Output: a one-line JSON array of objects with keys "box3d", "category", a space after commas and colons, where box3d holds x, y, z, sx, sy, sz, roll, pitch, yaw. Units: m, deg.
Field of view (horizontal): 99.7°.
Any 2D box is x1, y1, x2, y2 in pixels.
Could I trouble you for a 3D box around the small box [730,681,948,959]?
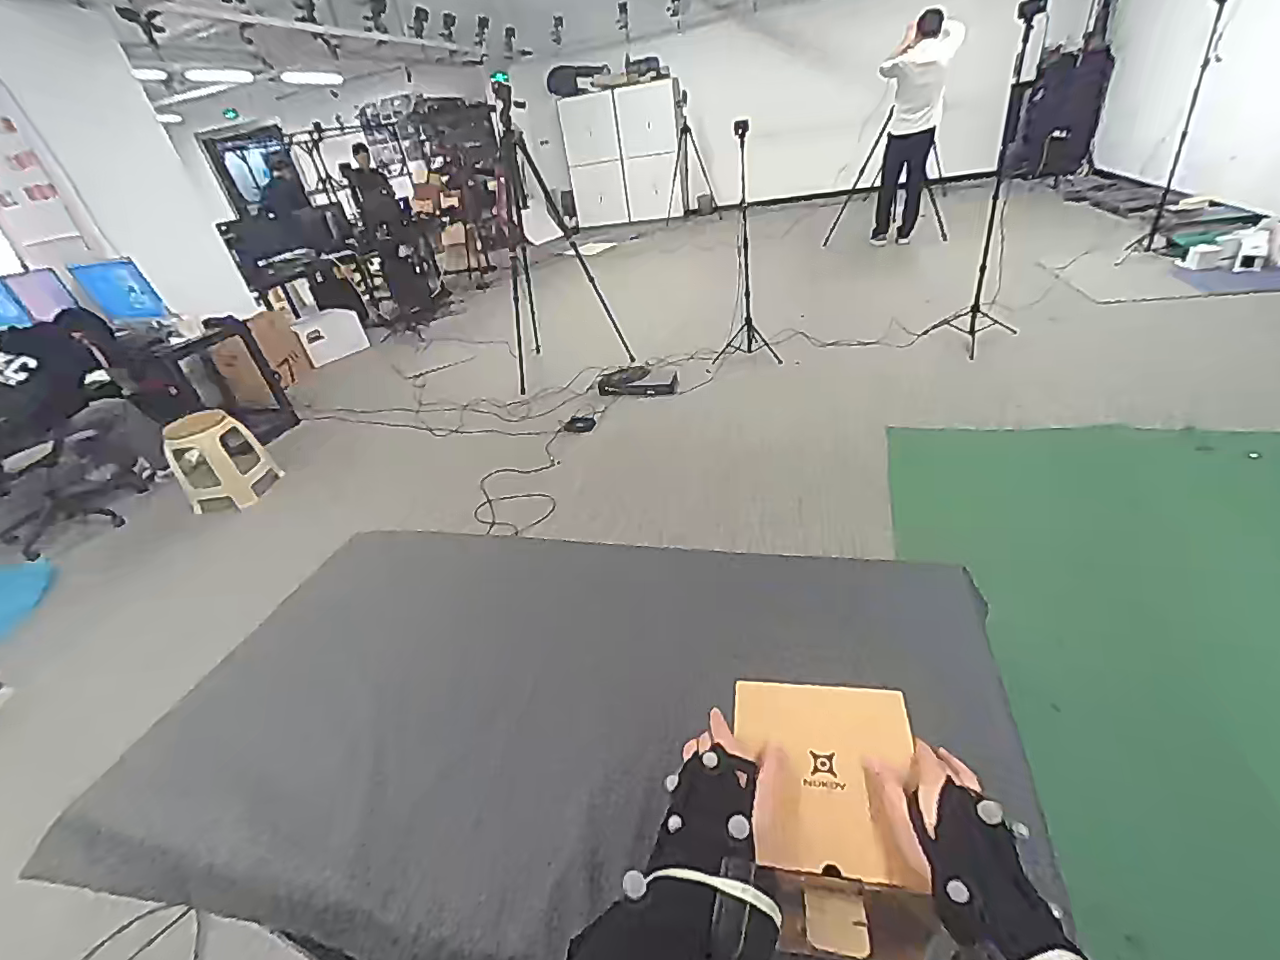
[{"box3d": [0.176, 0.329, 0.532, 0.168, 0.176, 0.179, 0, 35, 13], "category": "small box"}]
